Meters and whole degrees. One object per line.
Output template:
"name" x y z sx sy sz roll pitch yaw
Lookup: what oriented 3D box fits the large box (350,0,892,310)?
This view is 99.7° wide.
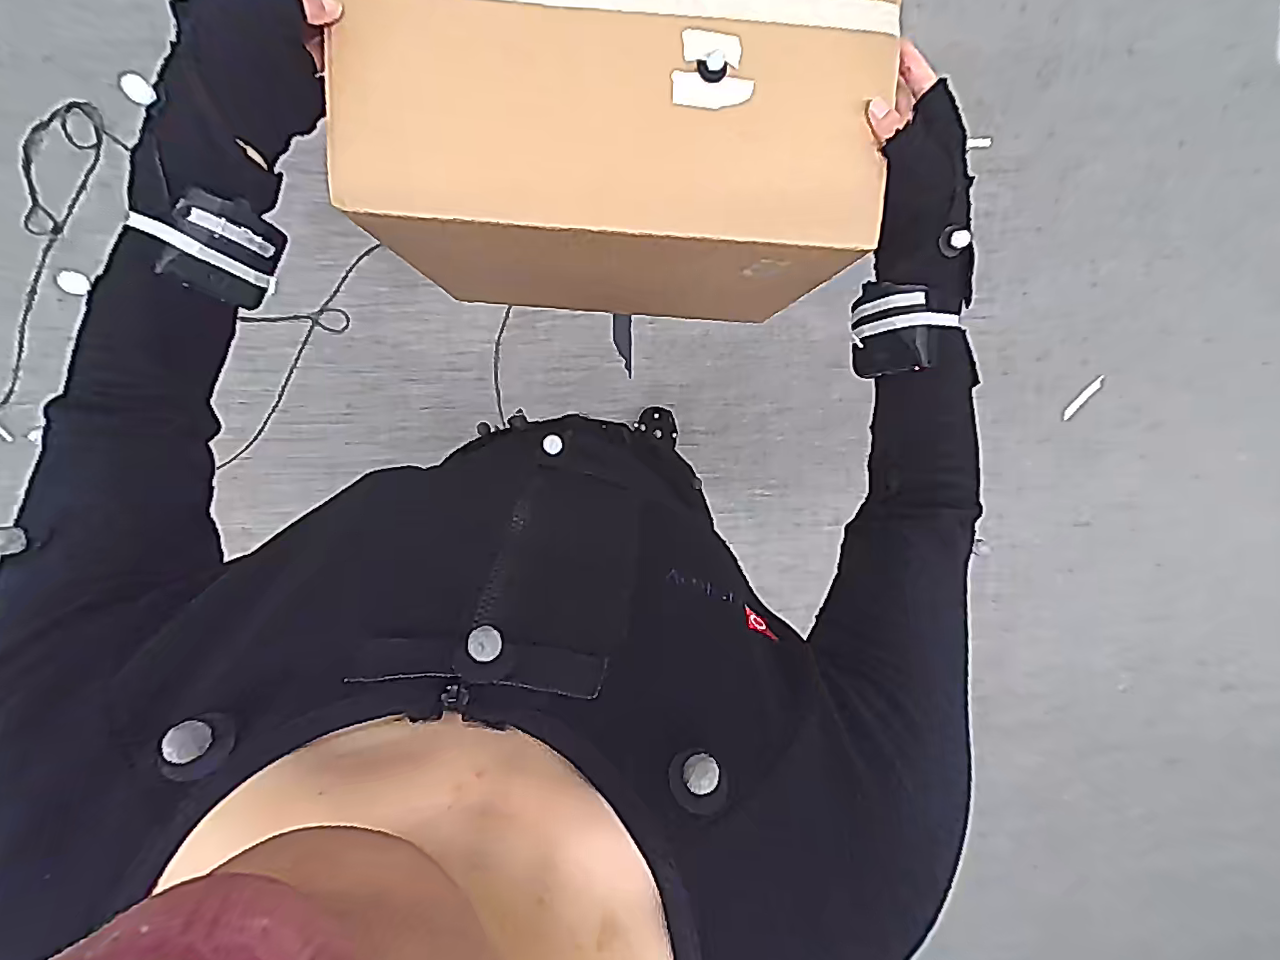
"large box" -0.019 -0.366 0.544 0.408 0.320 0.320 3 97 -4
